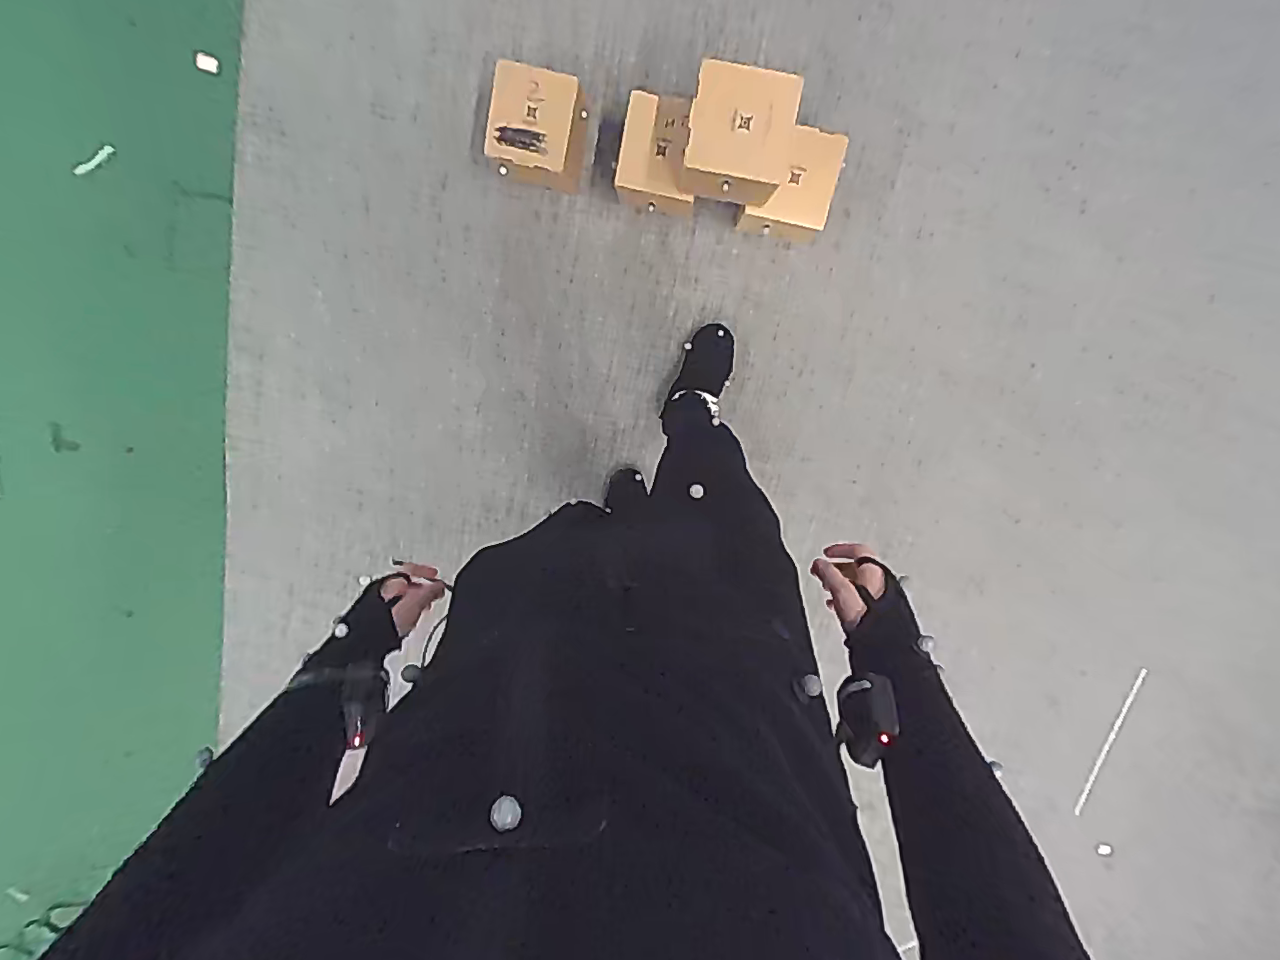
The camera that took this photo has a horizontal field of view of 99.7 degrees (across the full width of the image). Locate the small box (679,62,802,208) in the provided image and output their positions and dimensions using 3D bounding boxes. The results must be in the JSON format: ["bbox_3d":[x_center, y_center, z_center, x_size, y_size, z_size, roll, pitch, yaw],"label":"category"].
[{"bbox_3d":[0.172,-0.618,0.991,0.179,0.176,0.168,10,104,-1],"label":"small box"}]

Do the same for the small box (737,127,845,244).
[{"bbox_3d":[0.309,-0.620,1.152,0.168,0.176,0.179,13,103,0],"label":"small box"}]
